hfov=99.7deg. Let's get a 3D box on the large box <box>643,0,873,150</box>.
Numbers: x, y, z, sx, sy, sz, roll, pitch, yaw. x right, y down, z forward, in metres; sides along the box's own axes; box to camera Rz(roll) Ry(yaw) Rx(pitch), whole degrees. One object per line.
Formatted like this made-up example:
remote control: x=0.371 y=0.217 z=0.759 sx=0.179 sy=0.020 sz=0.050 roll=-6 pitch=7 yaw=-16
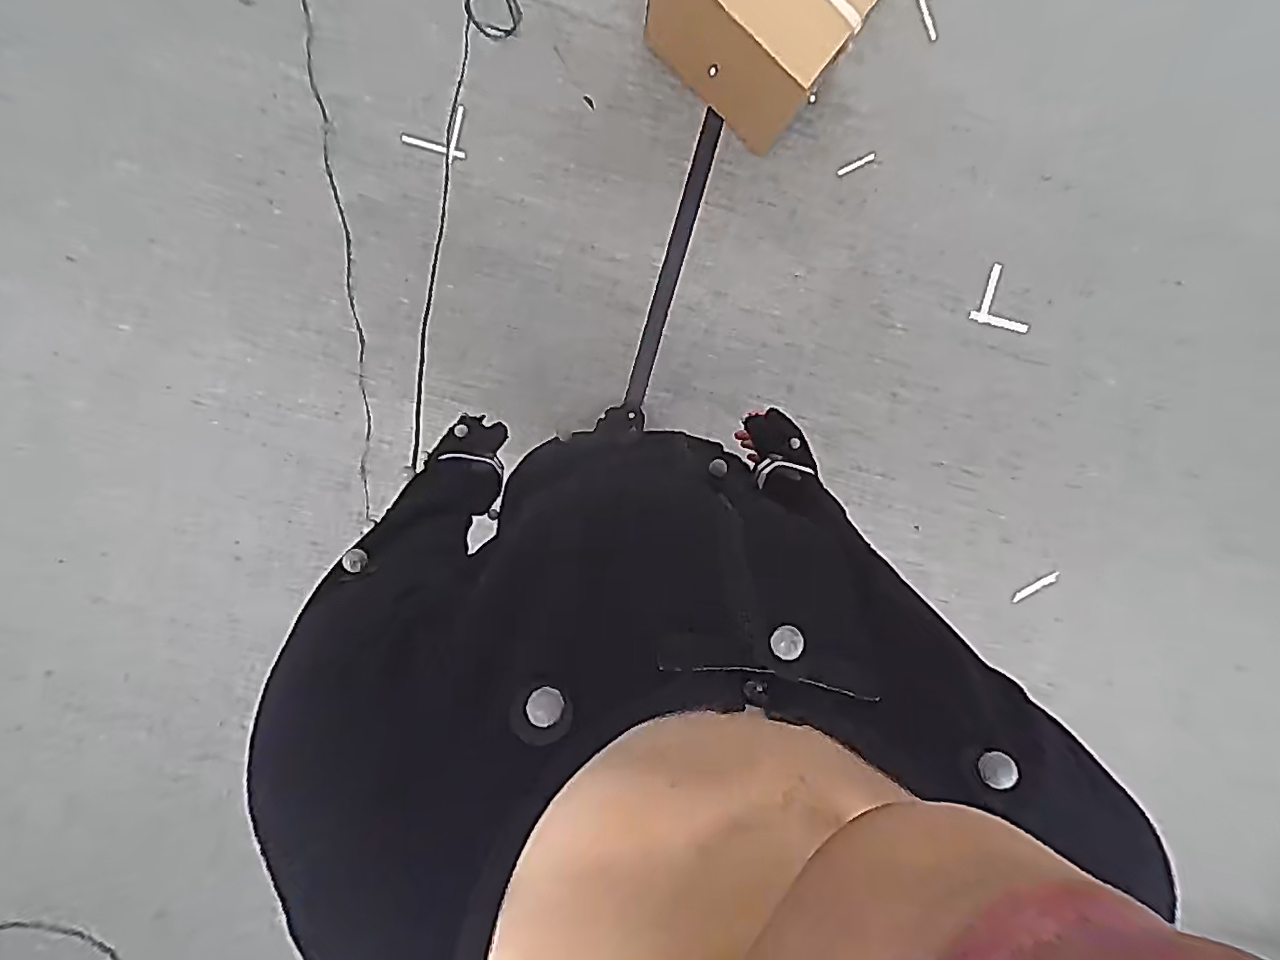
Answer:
large box: x=0.262 y=-1.061 z=1.215 sx=0.408 sy=0.320 sz=0.320 roll=39 pitch=93 yaw=-8
